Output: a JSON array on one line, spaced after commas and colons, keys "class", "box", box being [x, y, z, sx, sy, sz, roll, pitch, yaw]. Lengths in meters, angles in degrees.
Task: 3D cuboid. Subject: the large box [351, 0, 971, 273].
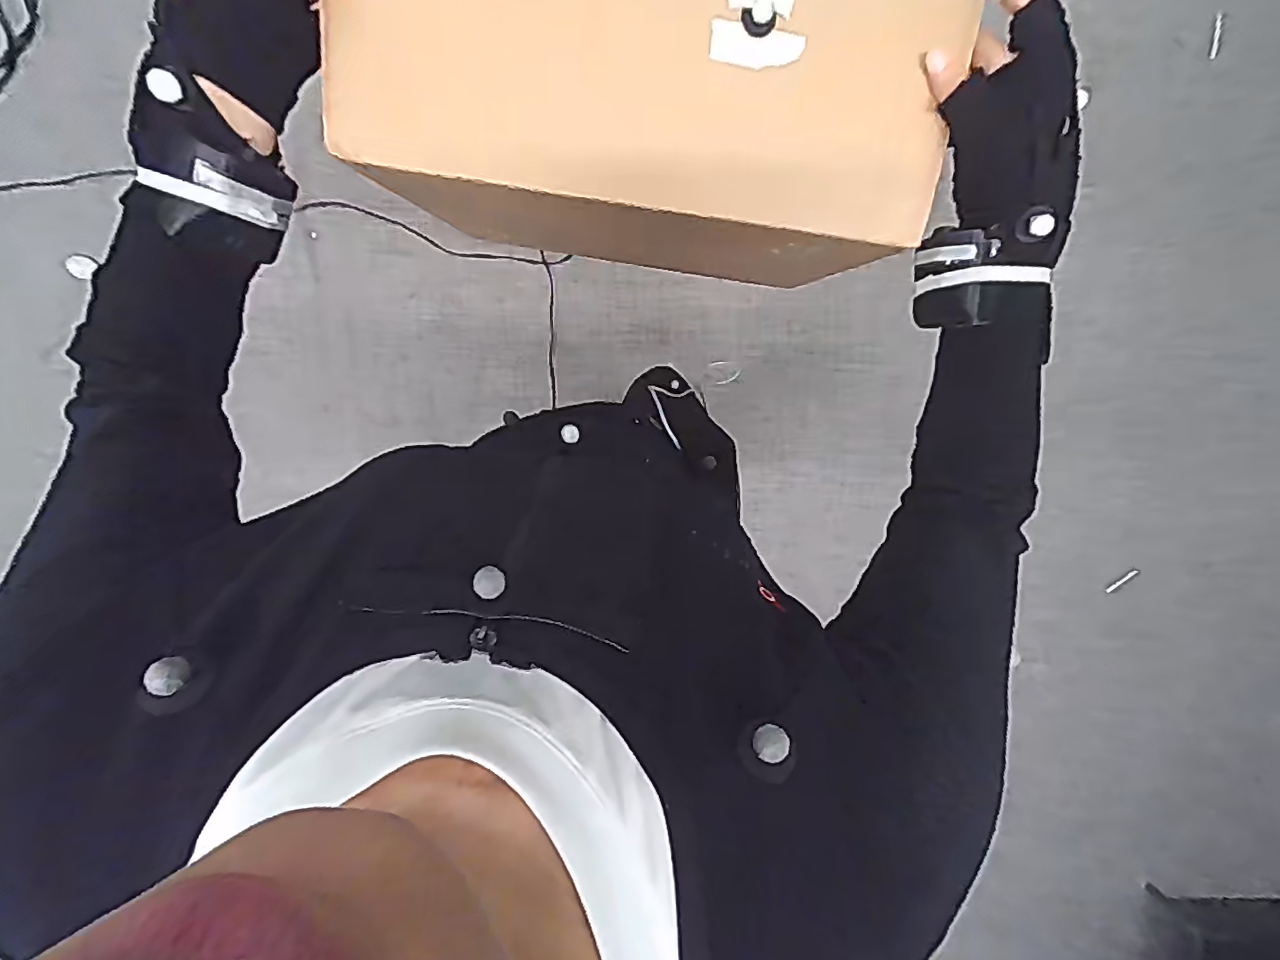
[{"class": "large box", "box": [0.018, -0.385, 0.481, 0.408, 0.320, 0.320, 8, 105, -2]}]
